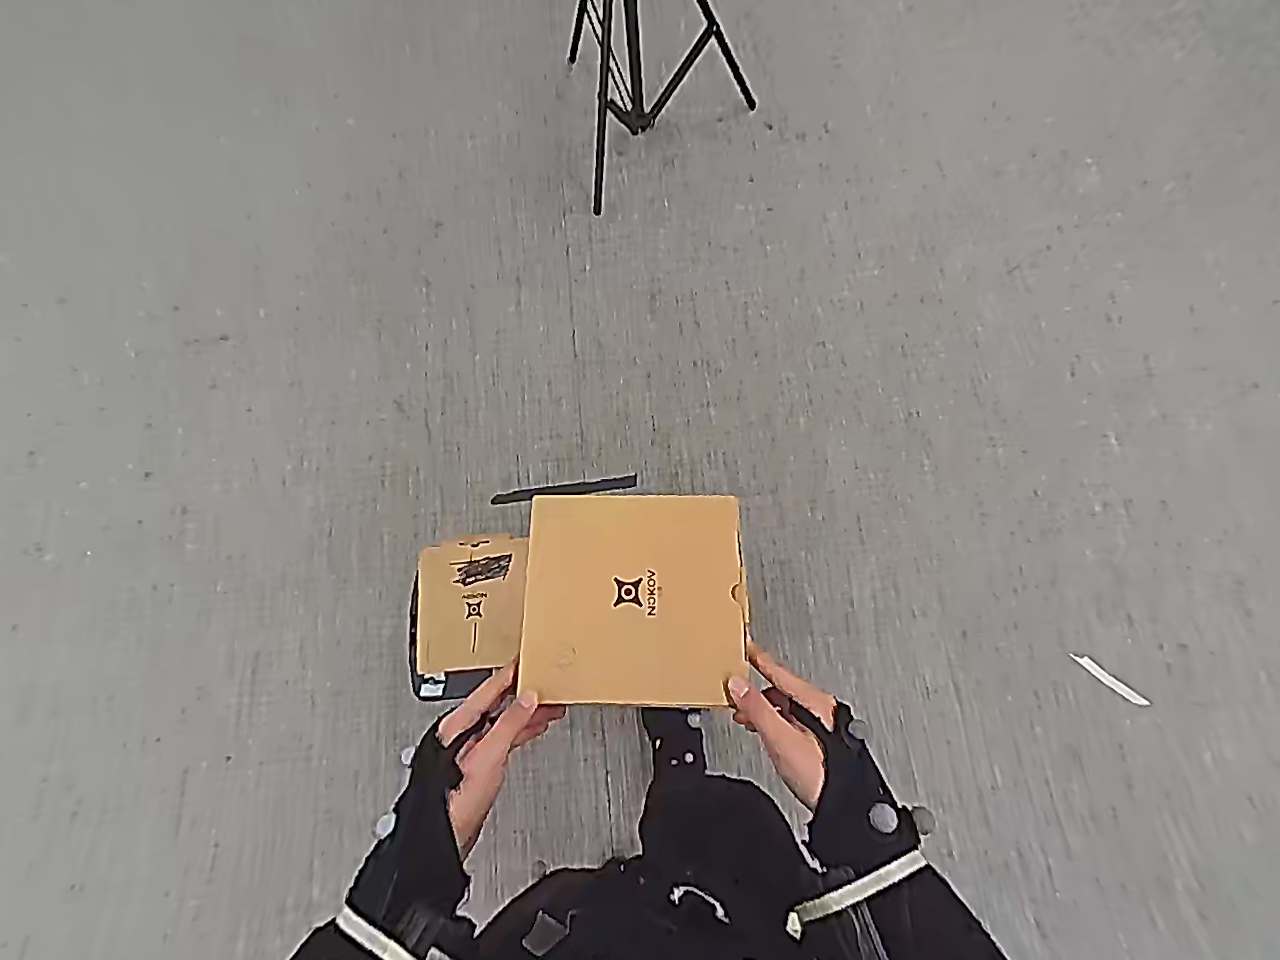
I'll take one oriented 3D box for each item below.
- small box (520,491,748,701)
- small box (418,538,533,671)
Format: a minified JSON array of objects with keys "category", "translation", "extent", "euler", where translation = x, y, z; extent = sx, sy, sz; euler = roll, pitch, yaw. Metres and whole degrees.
[{"category":"small box","translation":[-0.001,0.117,0.509],"extent":[0.179,0.176,0.168],"euler":[0,68,1]},{"category":"small box","translation":[-0.223,0.195,0.834],"extent":[0.168,0.176,0.179],"euler":[-5,74,2]}]
